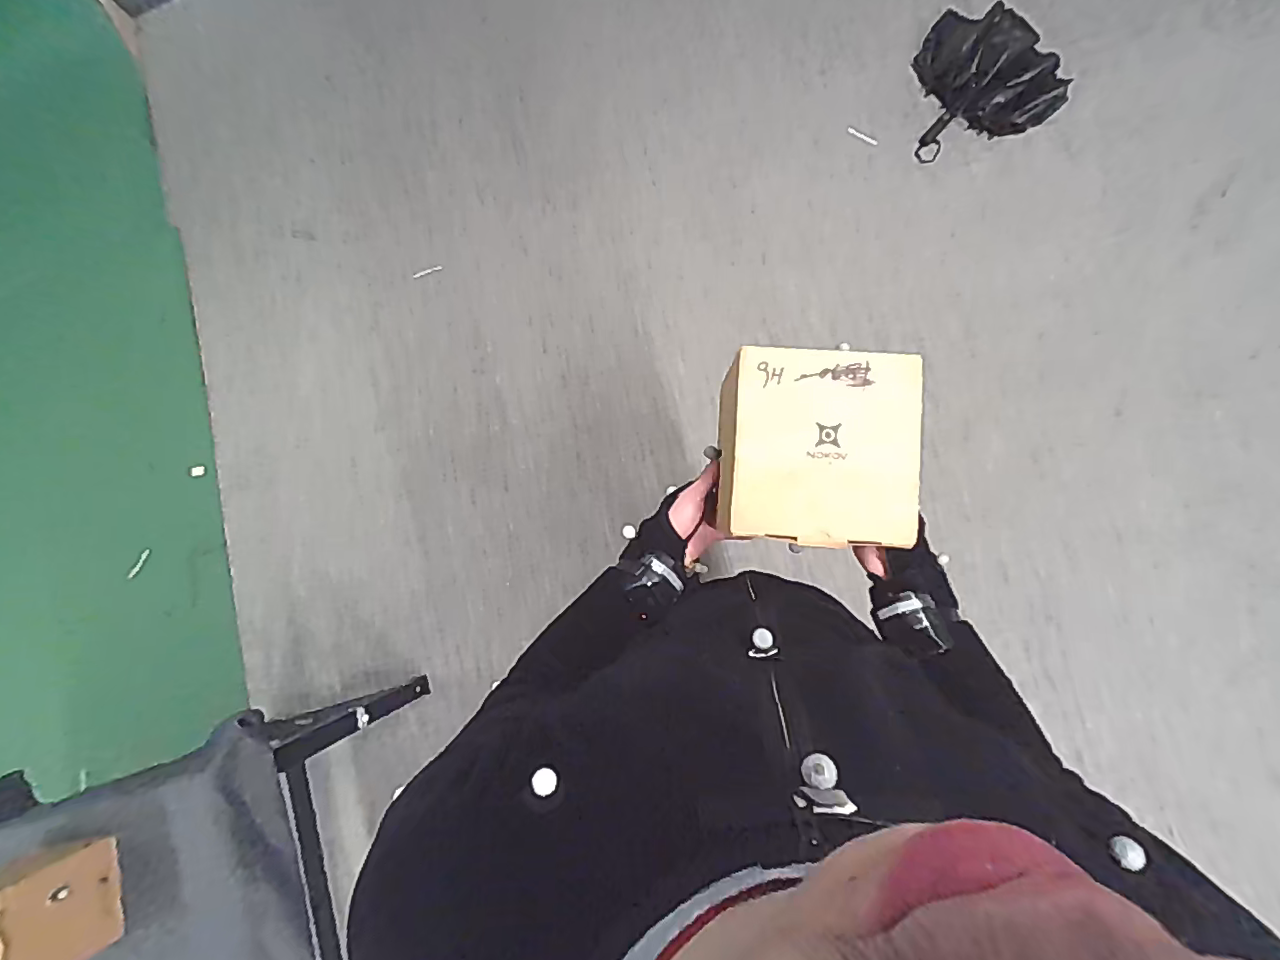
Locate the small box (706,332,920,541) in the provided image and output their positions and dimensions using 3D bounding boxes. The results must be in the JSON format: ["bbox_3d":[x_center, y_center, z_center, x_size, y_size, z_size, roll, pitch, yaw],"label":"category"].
[{"bbox_3d":[0.161,-0.037,0.557,0.168,0.176,0.179,5,88,1],"label":"small box"}]

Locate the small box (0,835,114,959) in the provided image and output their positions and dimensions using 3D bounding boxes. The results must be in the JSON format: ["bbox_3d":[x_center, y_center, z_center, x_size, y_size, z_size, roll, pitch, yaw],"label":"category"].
[{"bbox_3d":[-0.992,0.700,0.861,0.179,0.176,0.168,-14,81,8],"label":"small box"}]
